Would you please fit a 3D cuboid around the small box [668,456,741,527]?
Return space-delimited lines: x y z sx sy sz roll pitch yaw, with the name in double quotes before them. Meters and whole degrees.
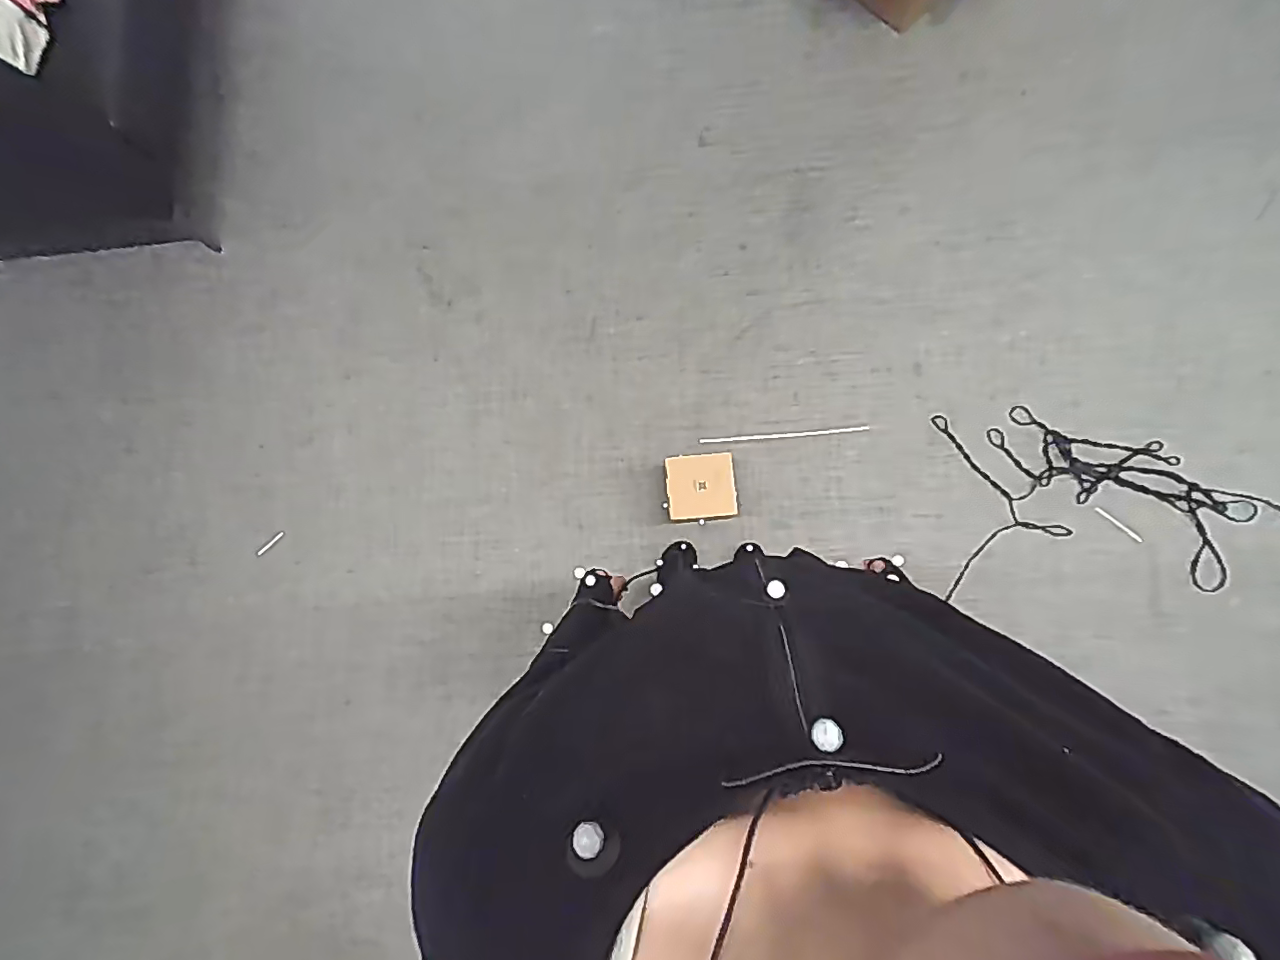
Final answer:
"small box" 0.173 0.036 1.456 0.179 0.176 0.168 -5 82 4
